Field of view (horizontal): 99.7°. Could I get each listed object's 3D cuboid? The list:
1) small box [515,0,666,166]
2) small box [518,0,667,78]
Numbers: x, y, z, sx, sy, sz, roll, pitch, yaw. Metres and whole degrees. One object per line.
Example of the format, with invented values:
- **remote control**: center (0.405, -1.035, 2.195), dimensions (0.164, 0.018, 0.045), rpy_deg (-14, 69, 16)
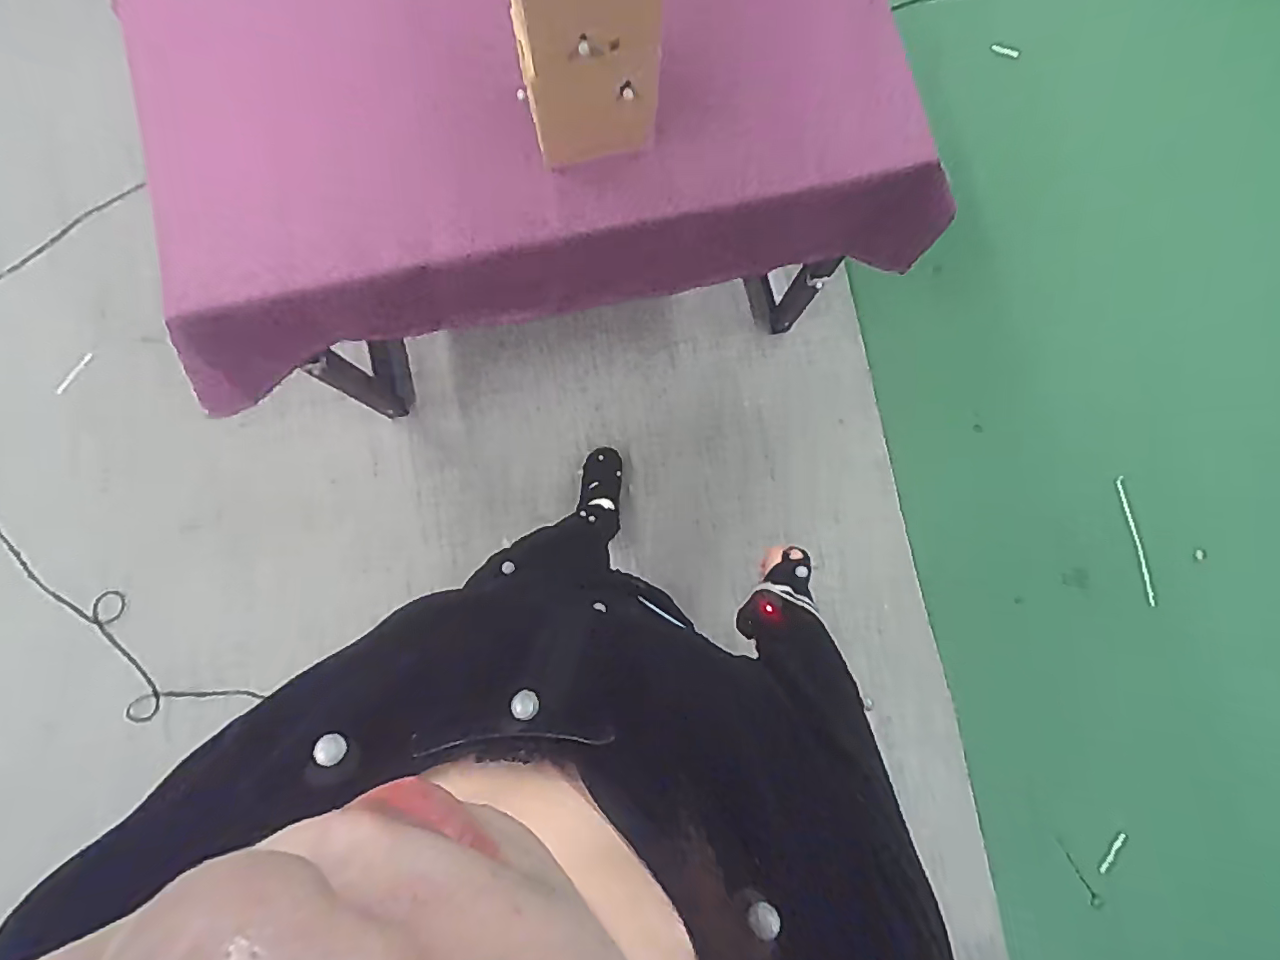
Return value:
- **small box**: center (-0.072, -0.591, 0.775), dimensions (0.179, 0.176, 0.168), rpy_deg (-13, 83, -4)
- **small box**: center (-0.067, -0.613, 0.614), dimensions (0.168, 0.176, 0.179), rpy_deg (-14, 85, -3)
